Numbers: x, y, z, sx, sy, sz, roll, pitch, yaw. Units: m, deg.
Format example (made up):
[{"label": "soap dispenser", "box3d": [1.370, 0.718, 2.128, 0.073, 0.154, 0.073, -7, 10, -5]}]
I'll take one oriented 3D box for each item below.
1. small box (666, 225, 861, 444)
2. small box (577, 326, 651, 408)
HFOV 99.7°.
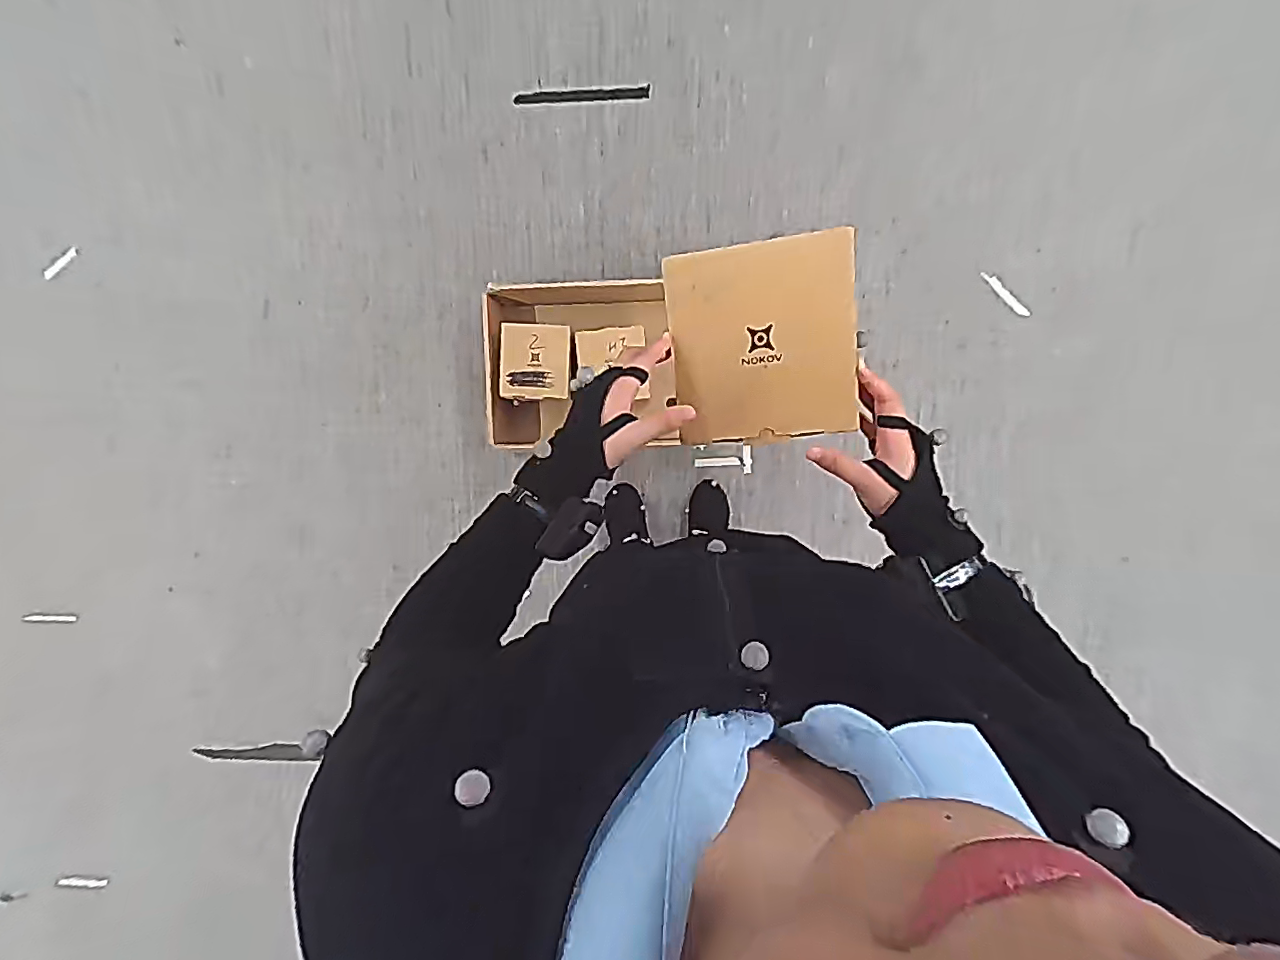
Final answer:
[{"label": "small box", "box3d": [0.125, -0.143, 0.558, 0.168, 0.176, 0.179, -4, 105, 13]}, {"label": "small box", "box3d": [-0.059, -0.276, 1.358, 0.168, 0.176, 0.179, -5, 93, 1]}]
